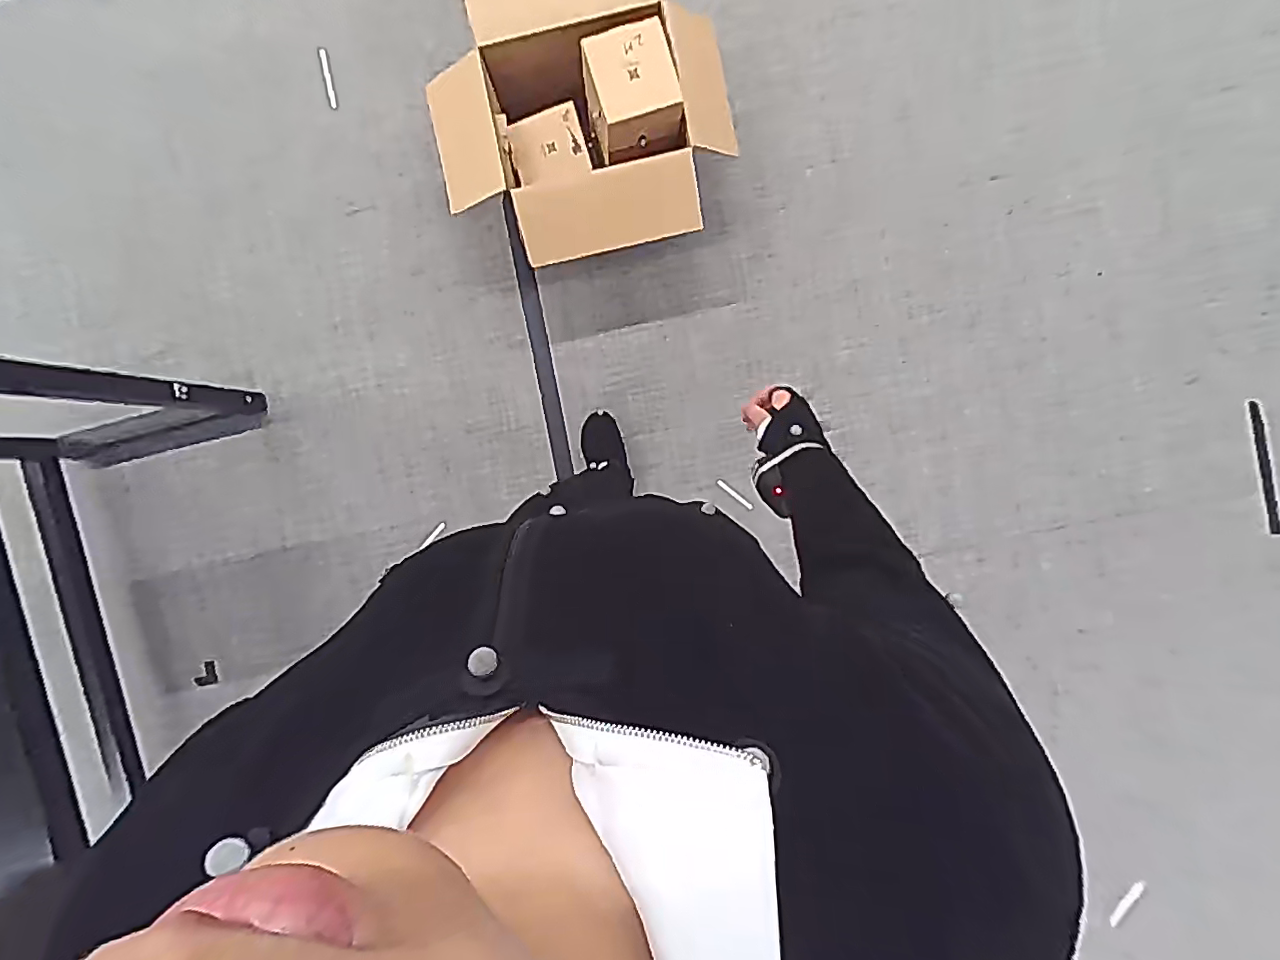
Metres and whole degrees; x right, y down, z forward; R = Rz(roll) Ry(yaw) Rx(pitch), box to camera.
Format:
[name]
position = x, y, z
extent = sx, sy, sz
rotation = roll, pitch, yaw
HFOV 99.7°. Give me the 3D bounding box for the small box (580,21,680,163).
[small box]
position = -0.021, -0.820, 1.167
extent = 0.168, 0.176, 0.179
rotation = -18, 93, -2
